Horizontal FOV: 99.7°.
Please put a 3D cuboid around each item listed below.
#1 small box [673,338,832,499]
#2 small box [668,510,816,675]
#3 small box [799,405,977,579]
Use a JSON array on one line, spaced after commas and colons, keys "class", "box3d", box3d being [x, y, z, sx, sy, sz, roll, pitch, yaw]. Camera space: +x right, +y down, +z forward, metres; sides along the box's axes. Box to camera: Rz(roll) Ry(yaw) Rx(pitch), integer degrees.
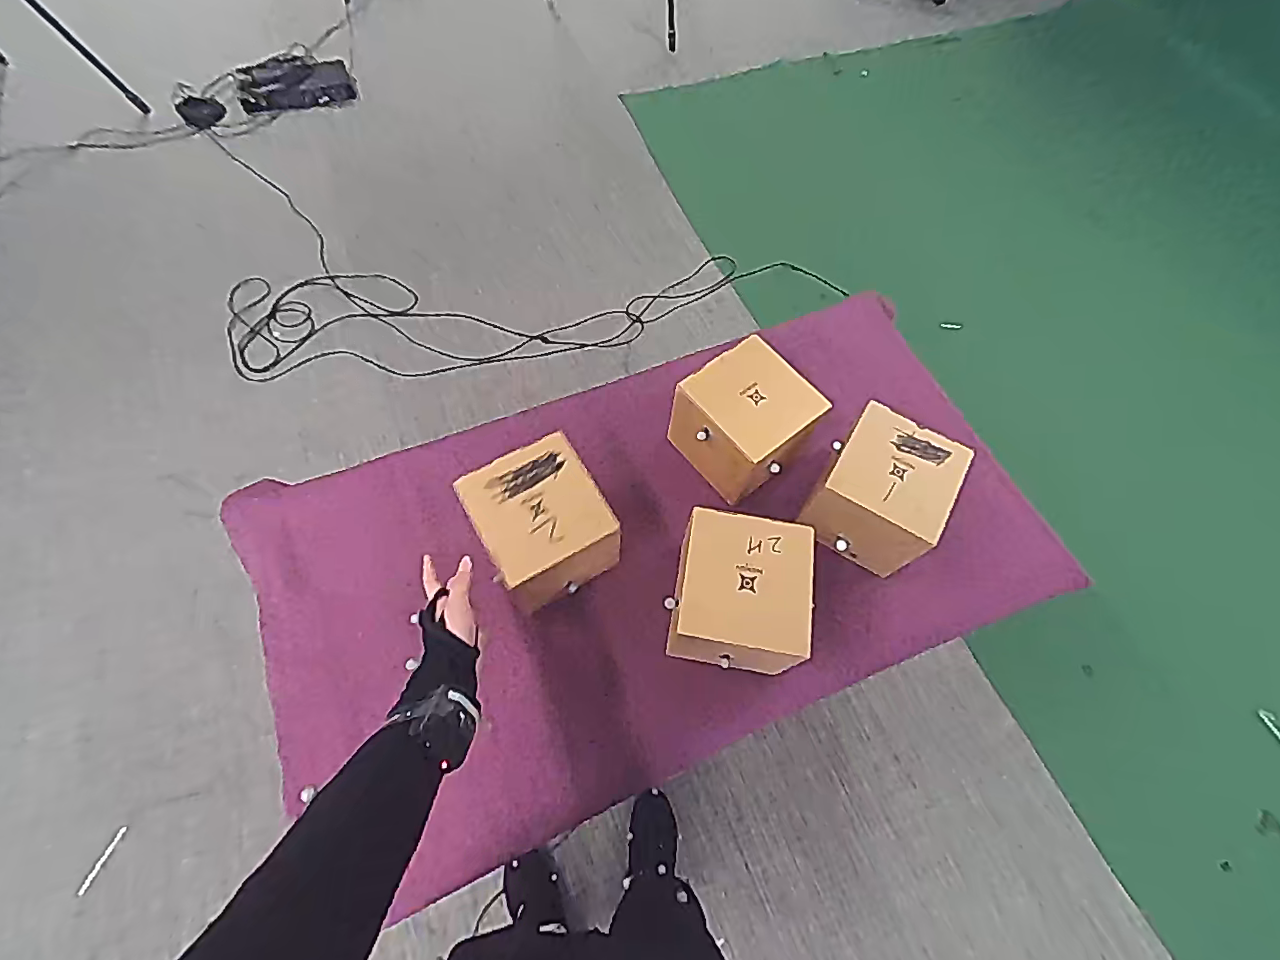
[{"class": "small box", "box3d": [0.171, -0.088, 0.884, 0.168, 0.176, 0.179, -35, 71, -17]}, {"class": "small box", "box3d": [0.135, 0.165, 0.755, 0.168, 0.176, 0.179, 10, 64, 2]}, {"class": "small box", "box3d": [0.370, 0.025, 0.835, 0.168, 0.176, 0.179, 31, 68, 12]}]
